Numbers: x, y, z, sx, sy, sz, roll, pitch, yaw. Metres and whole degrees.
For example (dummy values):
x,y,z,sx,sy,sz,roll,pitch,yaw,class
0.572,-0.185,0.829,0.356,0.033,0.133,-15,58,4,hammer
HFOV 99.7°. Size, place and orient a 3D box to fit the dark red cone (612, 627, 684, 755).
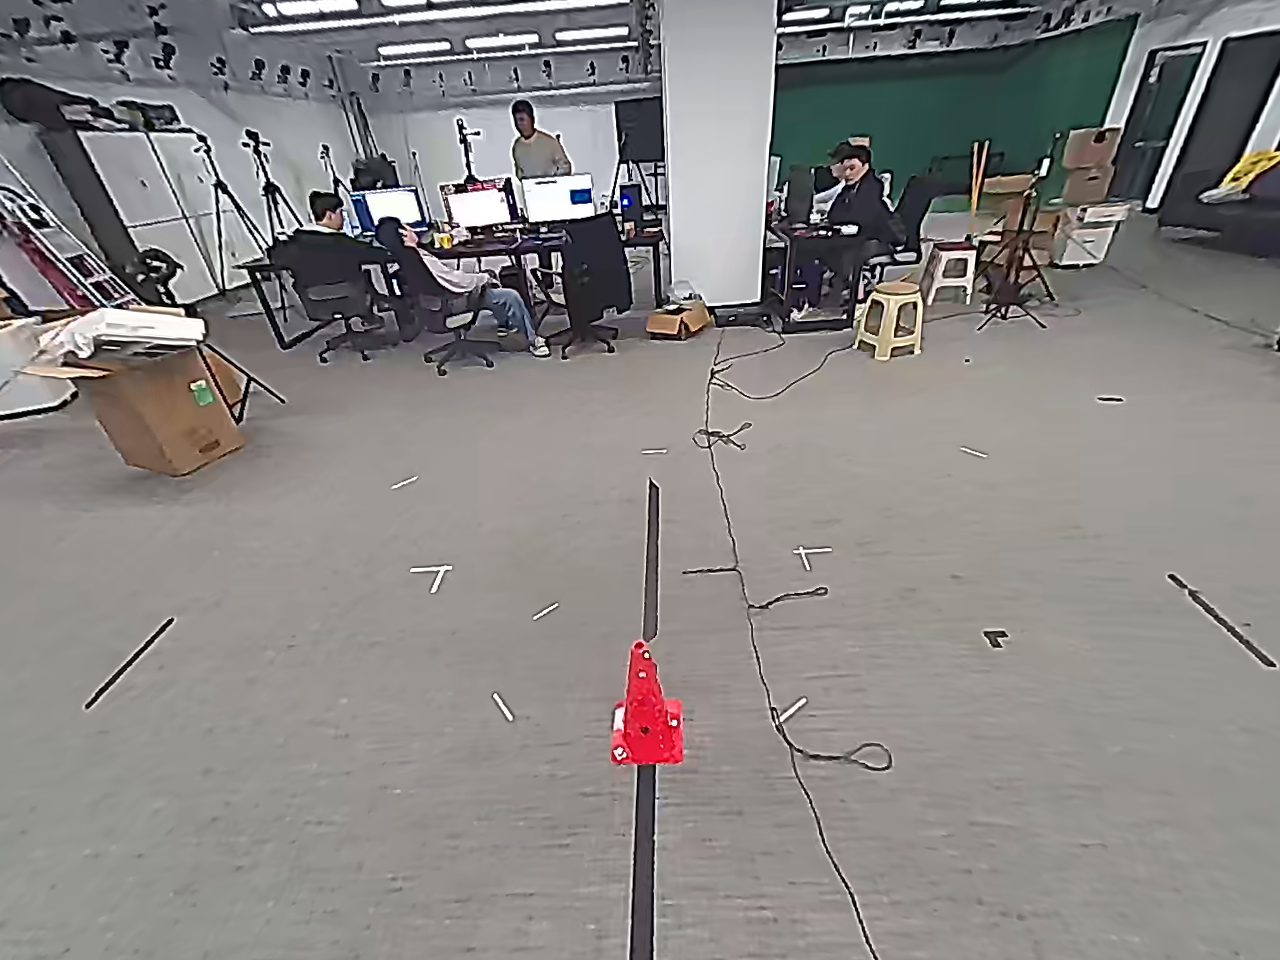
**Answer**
x,y,z,sx,sy,sz,roll,pitch,yaw,class
0.014,0.549,1.451,0.201,0.394,0.202,-2,32,2,dark red cone
